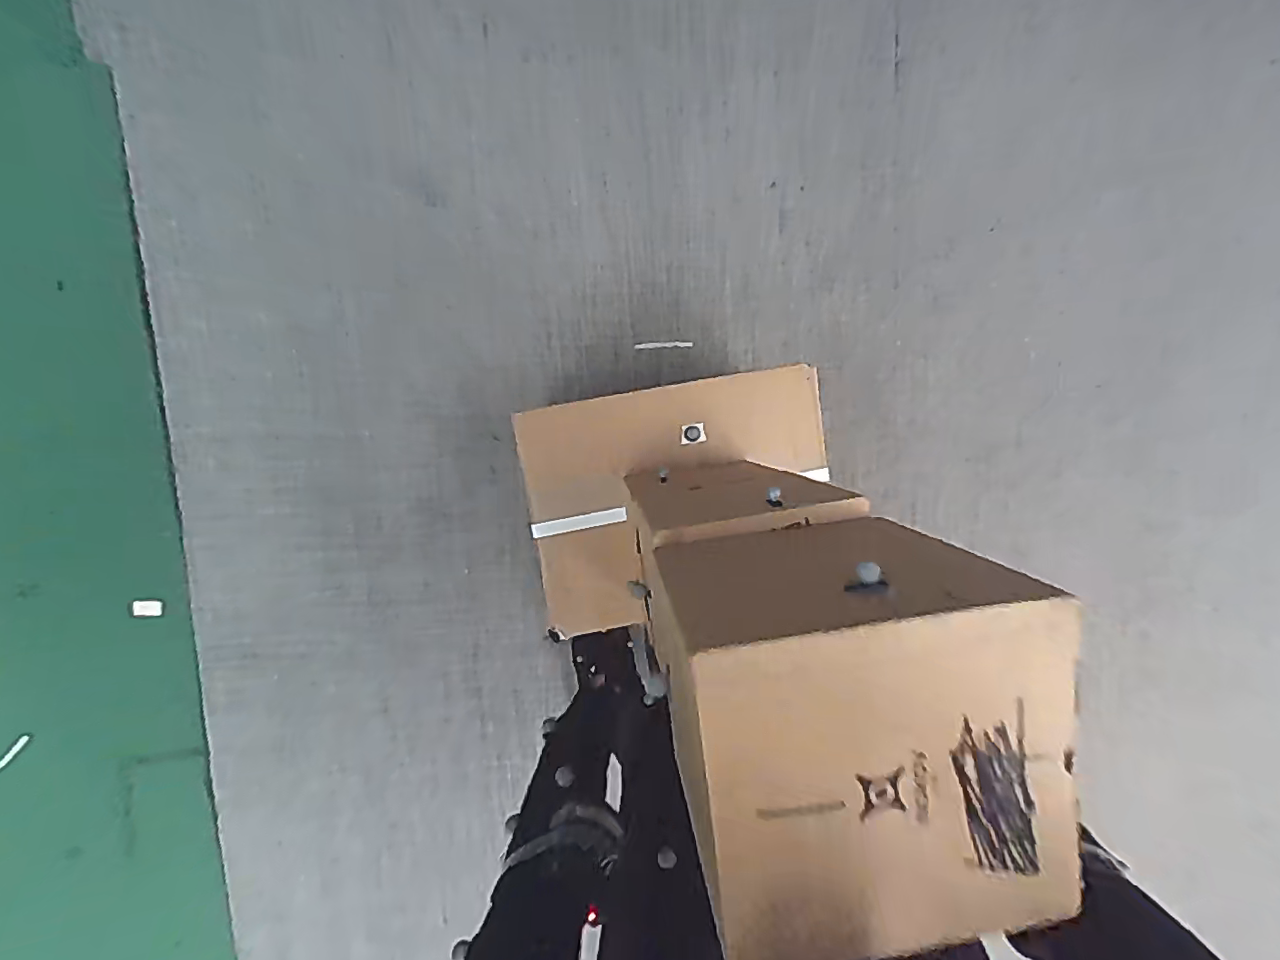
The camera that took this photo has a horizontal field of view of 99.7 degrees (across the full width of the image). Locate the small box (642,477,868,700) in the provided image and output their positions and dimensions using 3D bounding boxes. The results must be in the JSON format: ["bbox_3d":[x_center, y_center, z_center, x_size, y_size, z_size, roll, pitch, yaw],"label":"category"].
[{"bbox_3d":[0.097,0.102,0.499,0.168,0.176,0.179,-9,98,-4],"label":"small box"}]

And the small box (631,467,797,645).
[{"bbox_3d":[0.085,0.081,0.661,0.179,0.176,0.168,-8,98,-5],"label":"small box"}]

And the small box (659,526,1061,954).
[{"bbox_3d":[0.113,0.131,0.337,0.179,0.176,0.168,-7,97,-2],"label":"small box"}]
